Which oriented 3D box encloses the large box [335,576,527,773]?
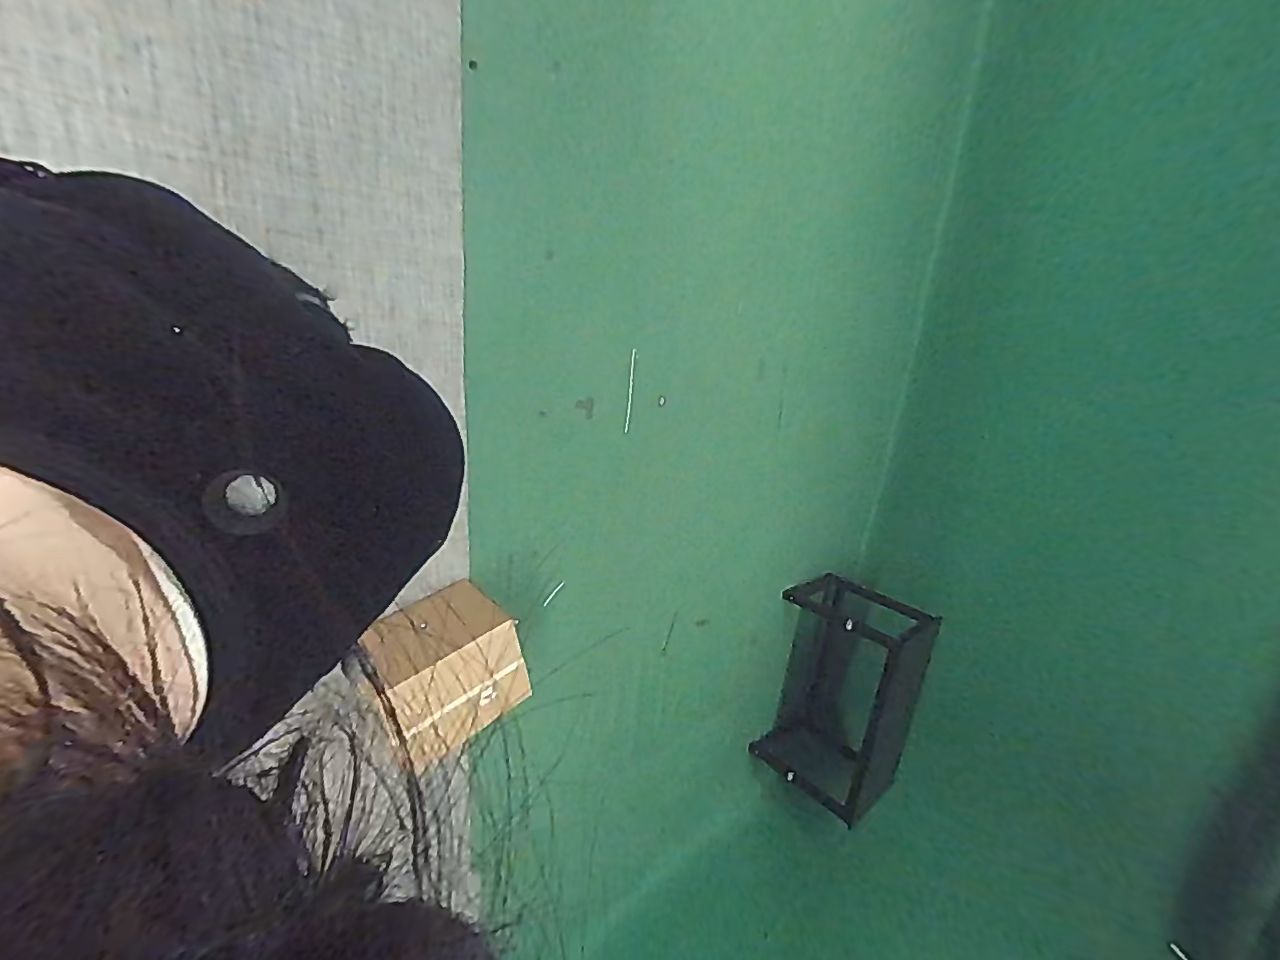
[{"bbox_3d":[-0.615,0.556,1.623,0.408,0.320,0.320,-28,125,-36],"label":"large box"}]
